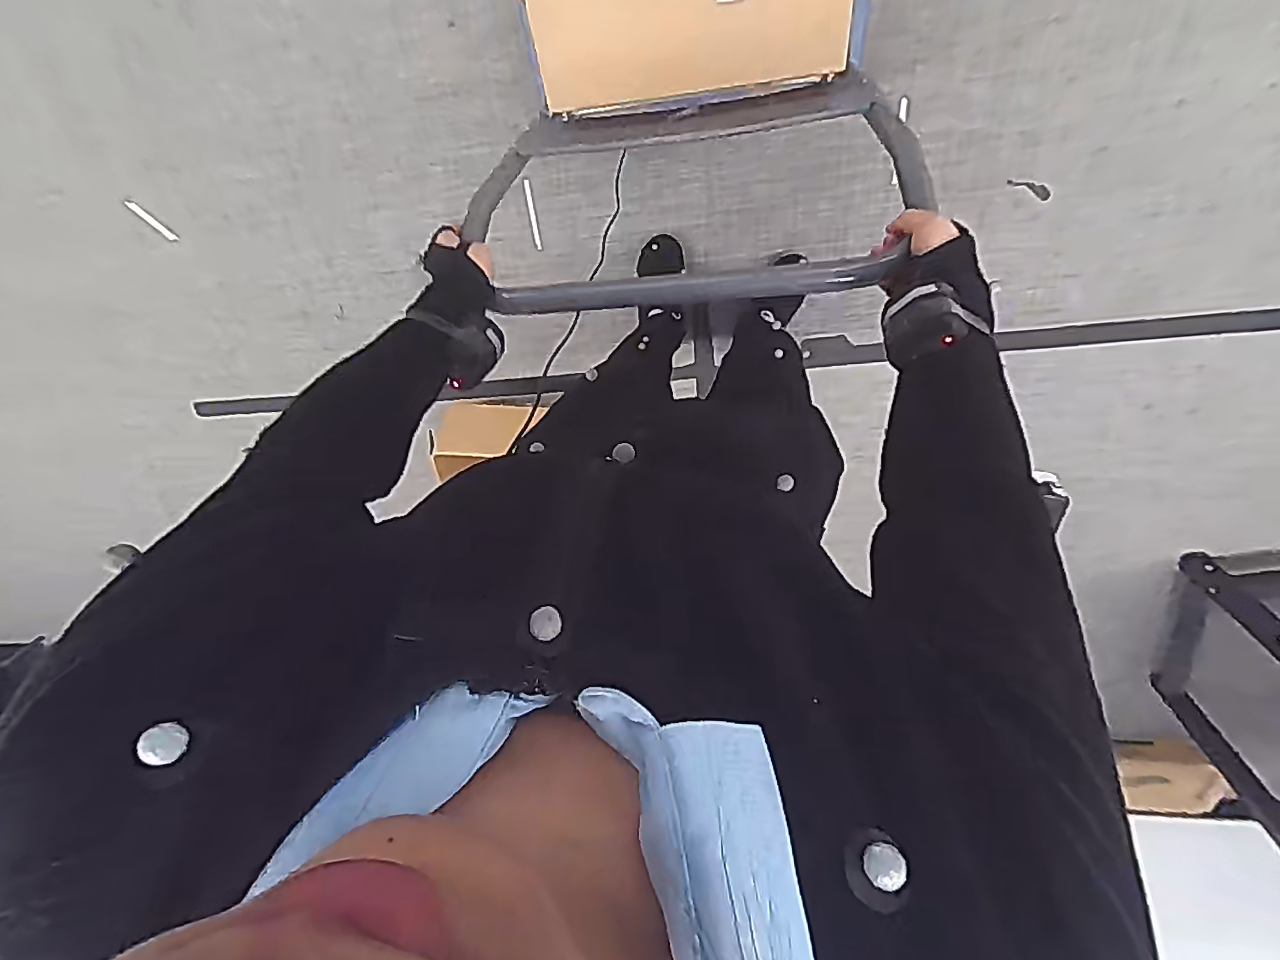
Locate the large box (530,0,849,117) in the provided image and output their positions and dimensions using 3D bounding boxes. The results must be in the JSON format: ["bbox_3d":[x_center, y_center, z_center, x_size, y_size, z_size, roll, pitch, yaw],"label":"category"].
[{"bbox_3d":[0.061,-0.744,0.746,0.408,0.320,0.320,-3,134,10],"label":"large box"}]
